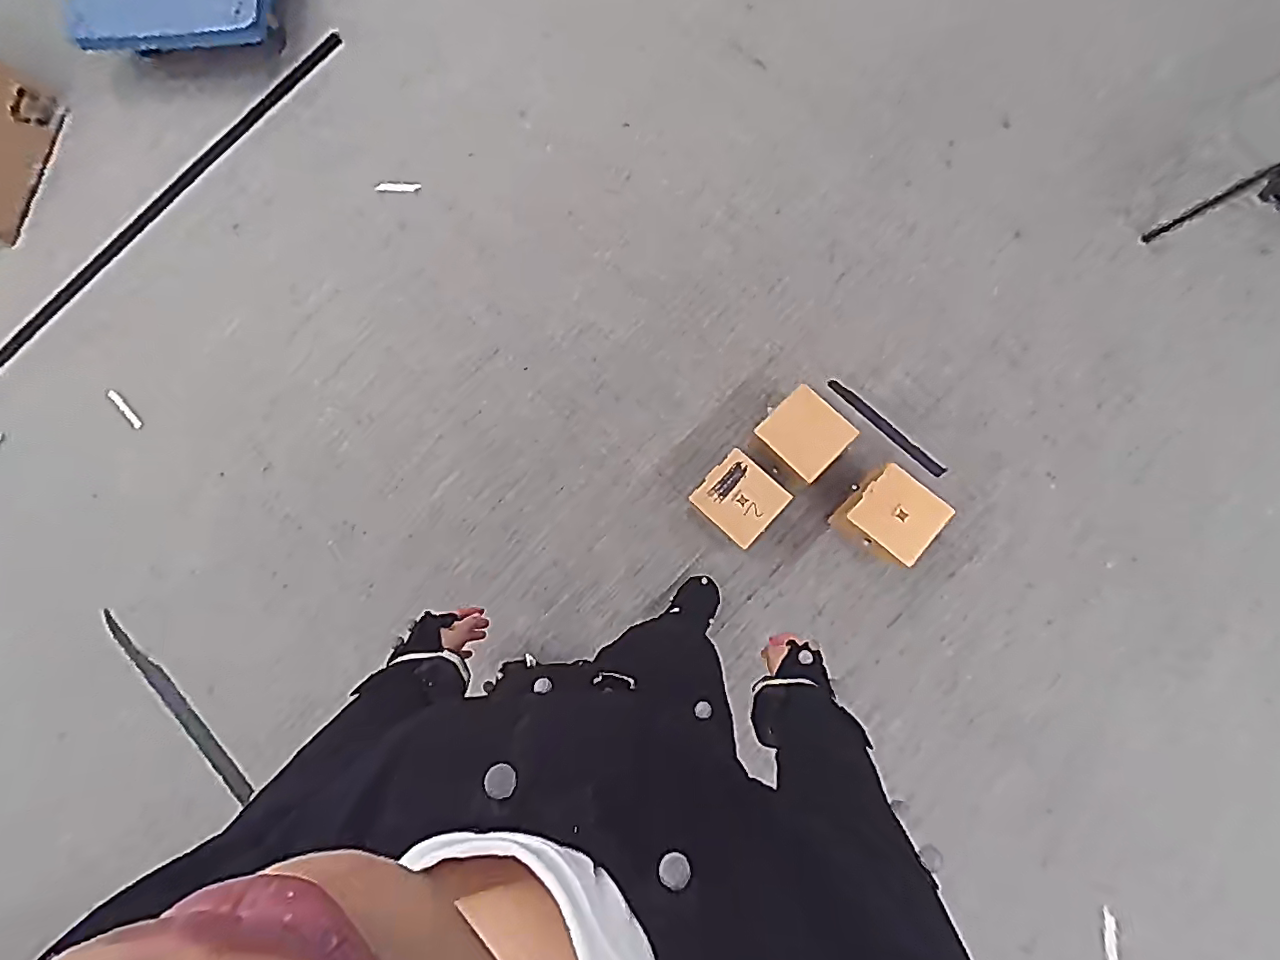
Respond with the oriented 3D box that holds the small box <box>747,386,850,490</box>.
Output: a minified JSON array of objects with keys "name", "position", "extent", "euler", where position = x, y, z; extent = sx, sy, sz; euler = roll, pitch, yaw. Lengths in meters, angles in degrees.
[{"name":"small box","position":[0.383,-0.098,1.313],"extent":[0.168,0.176,0.179],"euler":[-44,82,-2]}]

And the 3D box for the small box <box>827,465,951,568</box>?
[{"name":"small box","position":[0.578,0.087,1.279],"extent":[0.179,0.176,0.168],"euler":[40,88,9]}]
